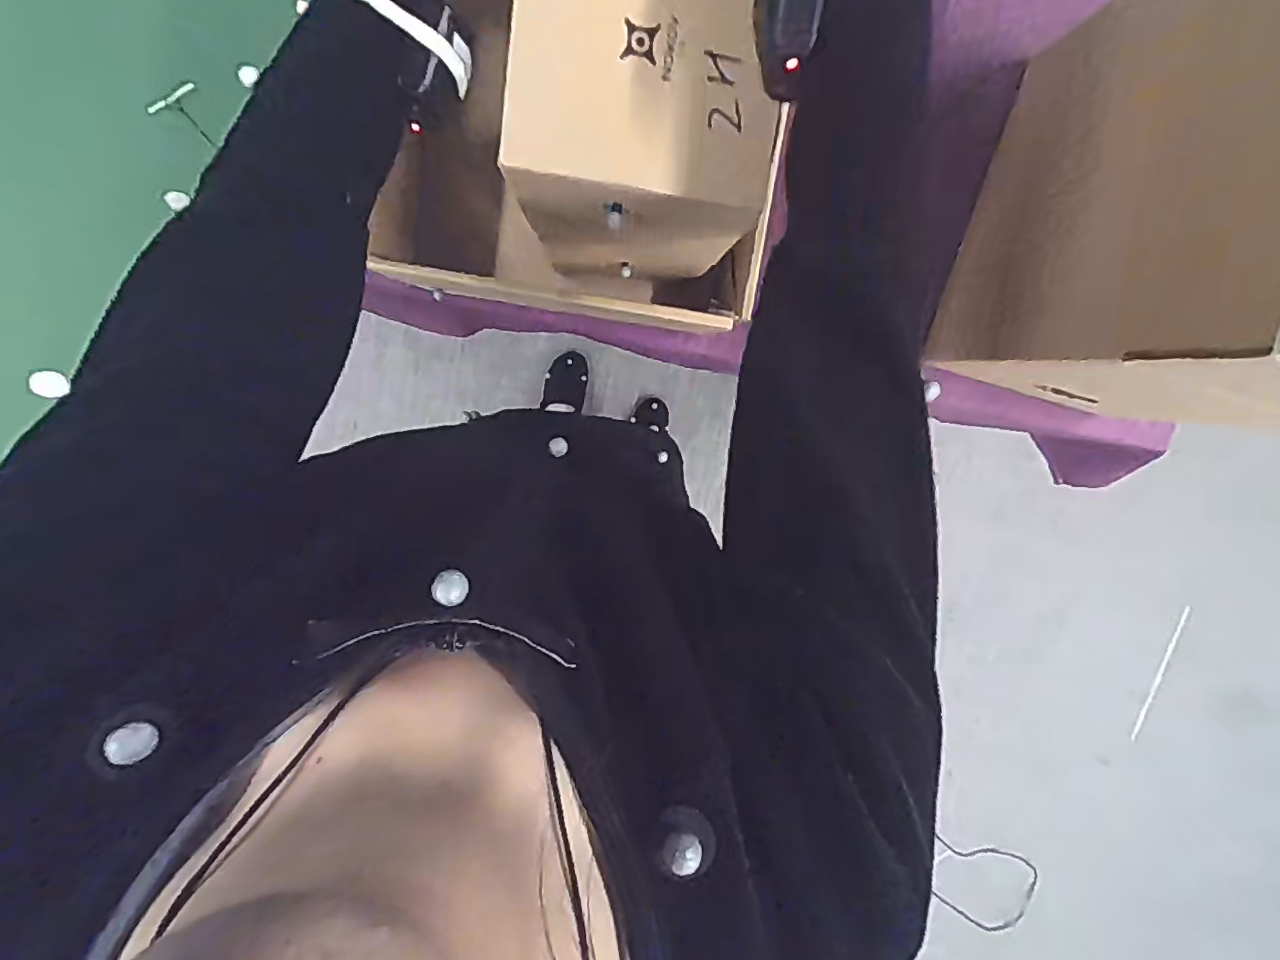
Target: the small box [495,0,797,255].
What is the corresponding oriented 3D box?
[{"bbox_3d":[0.002,-0.284,0.414,0.179,0.176,0.168,8,101,-5],"label":"small box"}]
